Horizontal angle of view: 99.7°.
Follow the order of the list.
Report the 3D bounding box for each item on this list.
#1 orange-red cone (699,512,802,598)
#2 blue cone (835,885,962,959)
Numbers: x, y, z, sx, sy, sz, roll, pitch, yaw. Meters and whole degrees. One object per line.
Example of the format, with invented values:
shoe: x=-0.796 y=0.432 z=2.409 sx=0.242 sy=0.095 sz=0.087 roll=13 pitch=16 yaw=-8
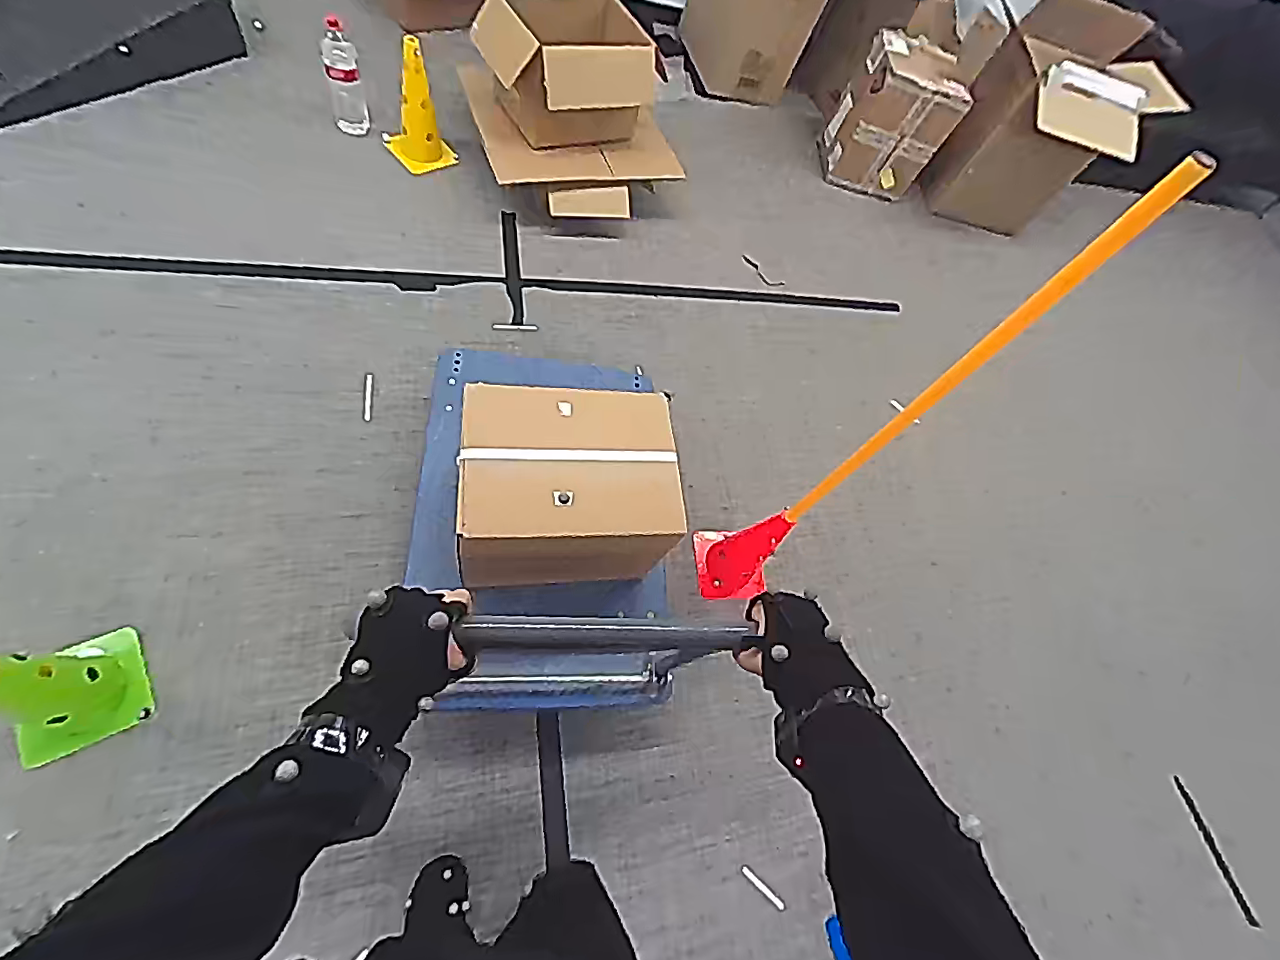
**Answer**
orange-red cone: x=0.311 y=0.163 z=1.386 sx=0.199 sy=0.360 sz=0.198 roll=4 pitch=64 yaw=-16
blue cone: x=0.582 y=0.973 z=1.070 sx=0.193 sy=0.380 sz=0.192 roll=-6 pitch=65 yaw=-19
